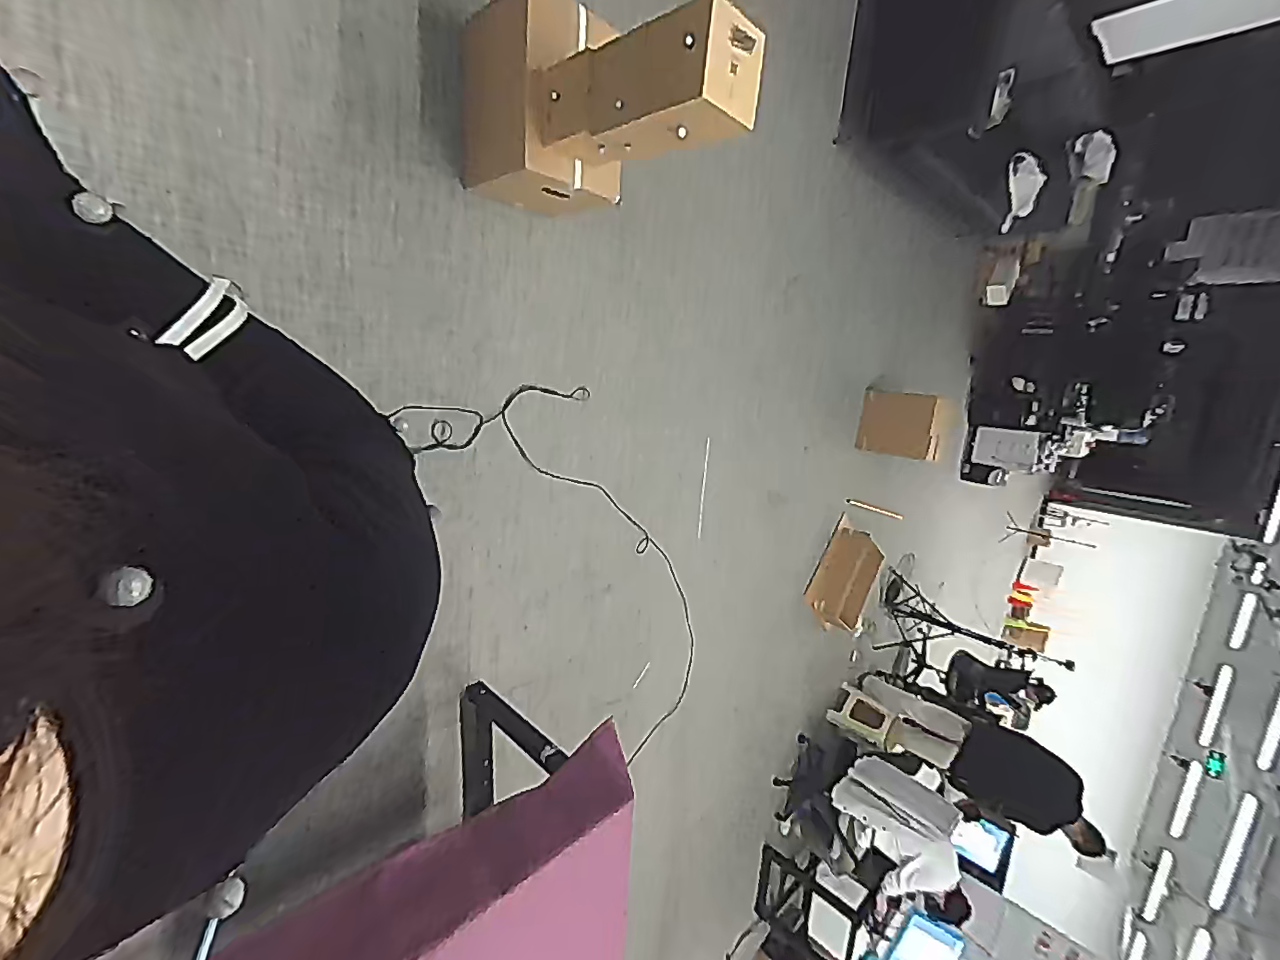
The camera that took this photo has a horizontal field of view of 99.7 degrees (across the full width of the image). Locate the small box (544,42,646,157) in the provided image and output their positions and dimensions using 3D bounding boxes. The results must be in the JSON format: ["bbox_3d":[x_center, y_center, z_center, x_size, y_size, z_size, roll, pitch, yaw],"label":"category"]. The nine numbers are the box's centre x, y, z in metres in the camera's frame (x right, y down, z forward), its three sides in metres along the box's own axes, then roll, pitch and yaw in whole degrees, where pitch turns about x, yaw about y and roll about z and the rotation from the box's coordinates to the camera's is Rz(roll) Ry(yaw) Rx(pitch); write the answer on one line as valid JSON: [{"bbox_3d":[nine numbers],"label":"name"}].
[{"bbox_3d":[-0.109,-0.895,1.293,0.179,0.176,0.168,-10,109,-43],"label":"small box"}]

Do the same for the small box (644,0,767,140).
[{"bbox_3d":[0.125,-0.814,1.076,0.168,0.176,0.179,-5,108,-44],"label":"small box"}]
